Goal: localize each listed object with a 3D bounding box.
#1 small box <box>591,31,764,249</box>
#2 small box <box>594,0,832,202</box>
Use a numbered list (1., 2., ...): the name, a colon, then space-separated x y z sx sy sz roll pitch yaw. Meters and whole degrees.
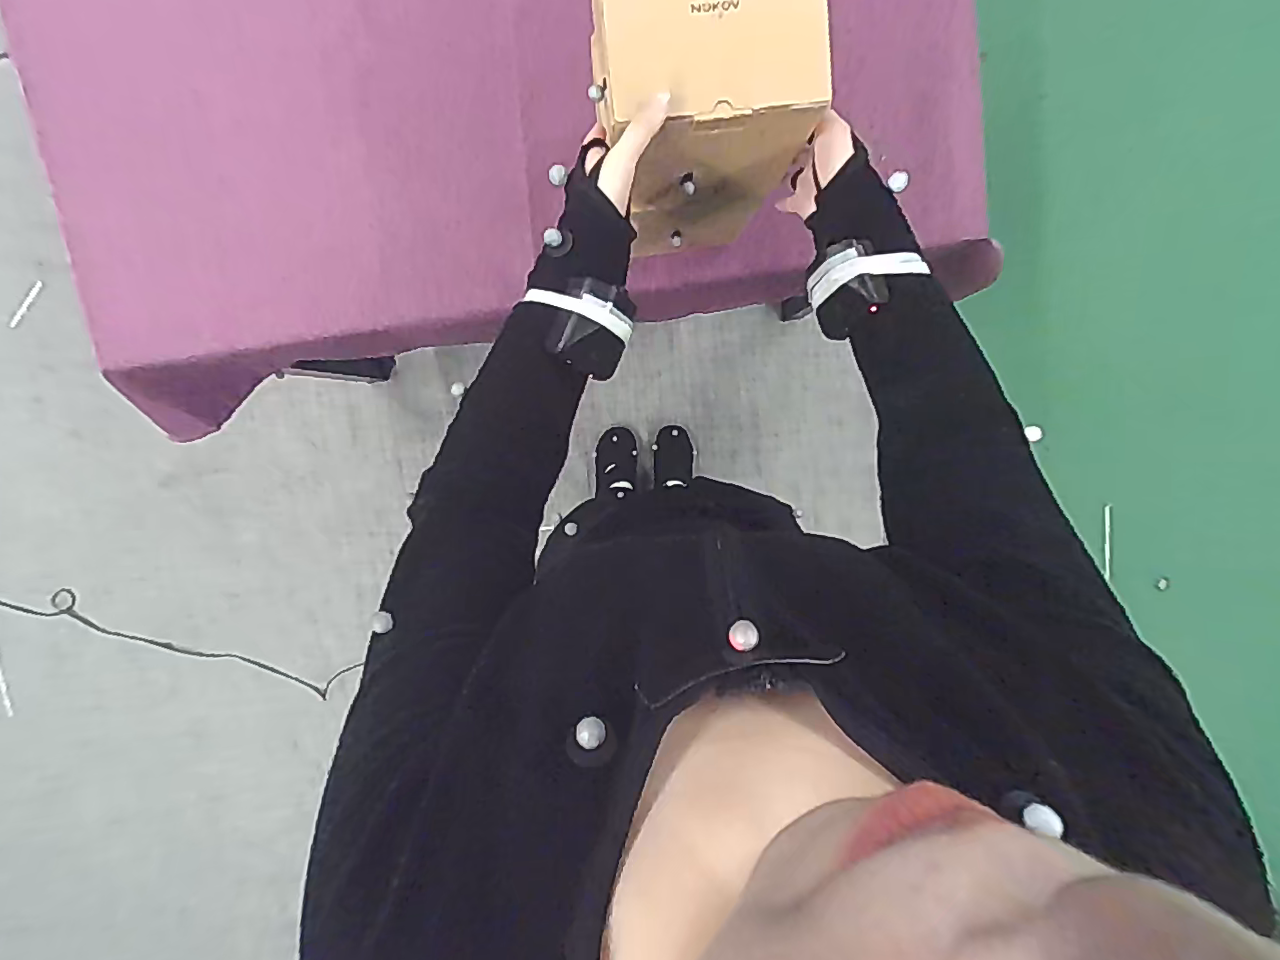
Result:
1. small box: 0.039 -0.382 0.629 0.168 0.176 0.179 -7 98 -1
2. small box: 0.049 -0.368 0.467 0.168 0.176 0.179 -7 99 -1
